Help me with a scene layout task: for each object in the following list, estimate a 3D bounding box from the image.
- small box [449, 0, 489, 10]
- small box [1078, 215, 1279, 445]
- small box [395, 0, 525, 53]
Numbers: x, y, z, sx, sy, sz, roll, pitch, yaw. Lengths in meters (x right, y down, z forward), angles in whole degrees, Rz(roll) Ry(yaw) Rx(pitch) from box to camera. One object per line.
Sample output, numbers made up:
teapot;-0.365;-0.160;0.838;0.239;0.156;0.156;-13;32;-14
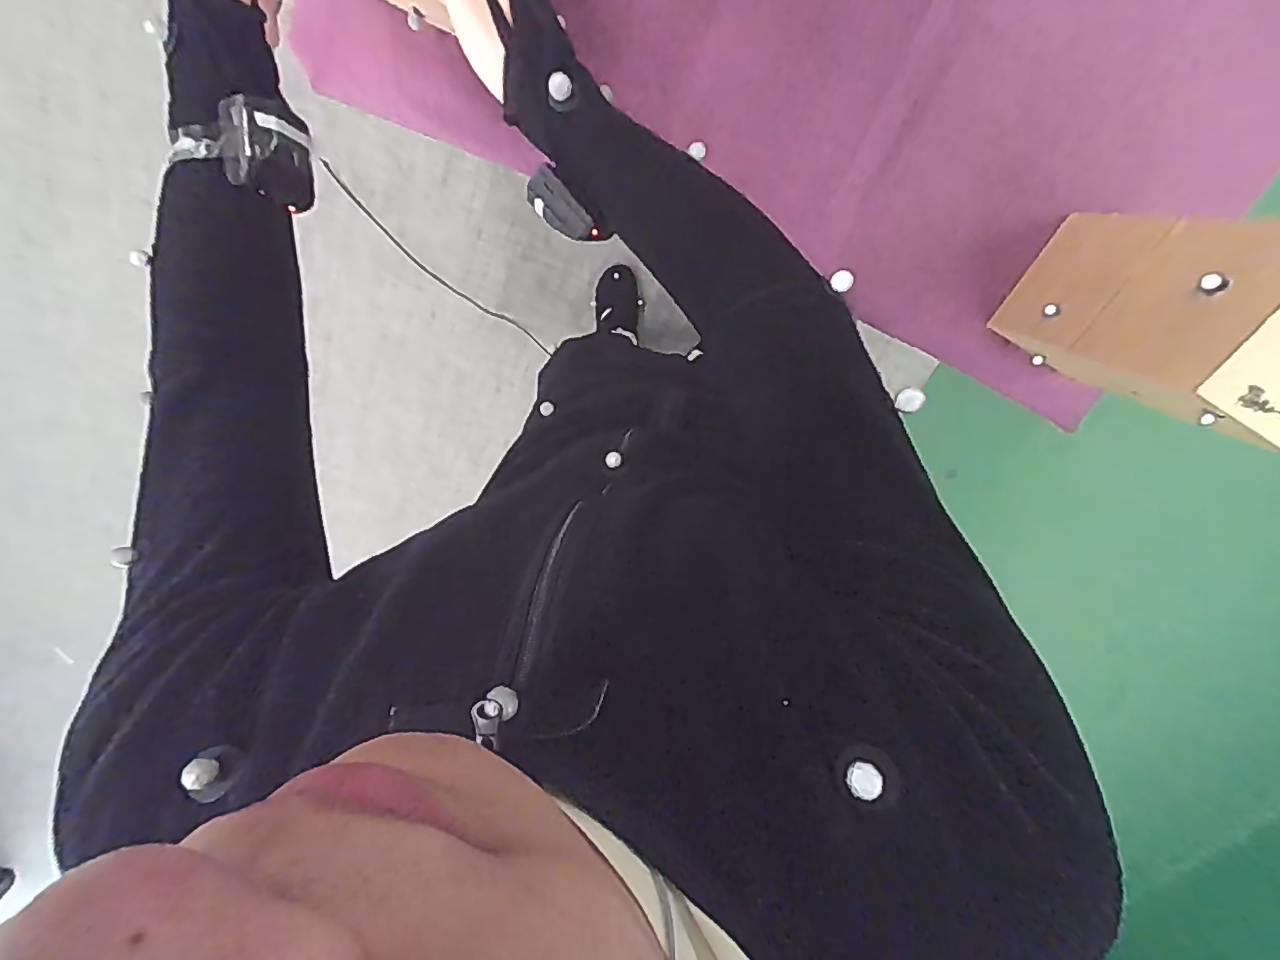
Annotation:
small box;-0.178;-0.465;0.360;0.168;0.176;0.179;19;118;-11
small box;0.644;-0.166;0.583;0.168;0.176;0.179;24;112;-13
small box;-0.190;-0.561;0.516;0.168;0.176;0.179;19;114;-12
